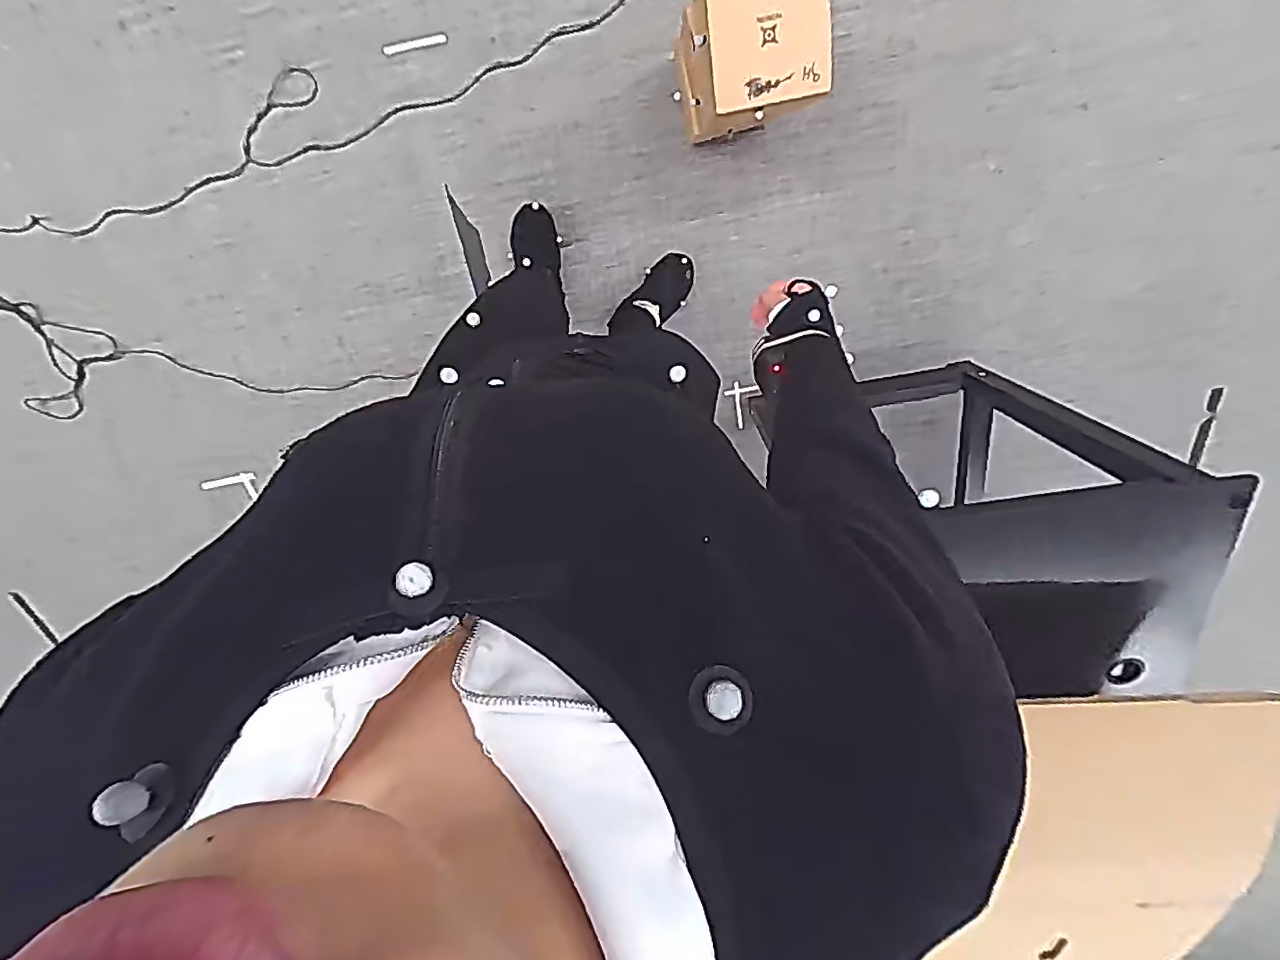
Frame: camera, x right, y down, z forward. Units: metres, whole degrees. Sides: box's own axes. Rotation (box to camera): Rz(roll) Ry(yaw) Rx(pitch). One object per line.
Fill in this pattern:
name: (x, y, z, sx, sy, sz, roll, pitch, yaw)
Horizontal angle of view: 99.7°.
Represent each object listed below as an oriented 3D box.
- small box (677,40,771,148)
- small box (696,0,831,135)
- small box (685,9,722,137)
small box: (0.177, -0.796, 1.101, 0.179, 0.176, 0.168, -11, 115, 7)
small box: (0.179, -0.646, 0.812, 0.168, 0.176, 0.179, -8, 115, 5)
small box: (0.180, -0.730, 0.954, 0.179, 0.176, 0.168, -16, 115, 7)
